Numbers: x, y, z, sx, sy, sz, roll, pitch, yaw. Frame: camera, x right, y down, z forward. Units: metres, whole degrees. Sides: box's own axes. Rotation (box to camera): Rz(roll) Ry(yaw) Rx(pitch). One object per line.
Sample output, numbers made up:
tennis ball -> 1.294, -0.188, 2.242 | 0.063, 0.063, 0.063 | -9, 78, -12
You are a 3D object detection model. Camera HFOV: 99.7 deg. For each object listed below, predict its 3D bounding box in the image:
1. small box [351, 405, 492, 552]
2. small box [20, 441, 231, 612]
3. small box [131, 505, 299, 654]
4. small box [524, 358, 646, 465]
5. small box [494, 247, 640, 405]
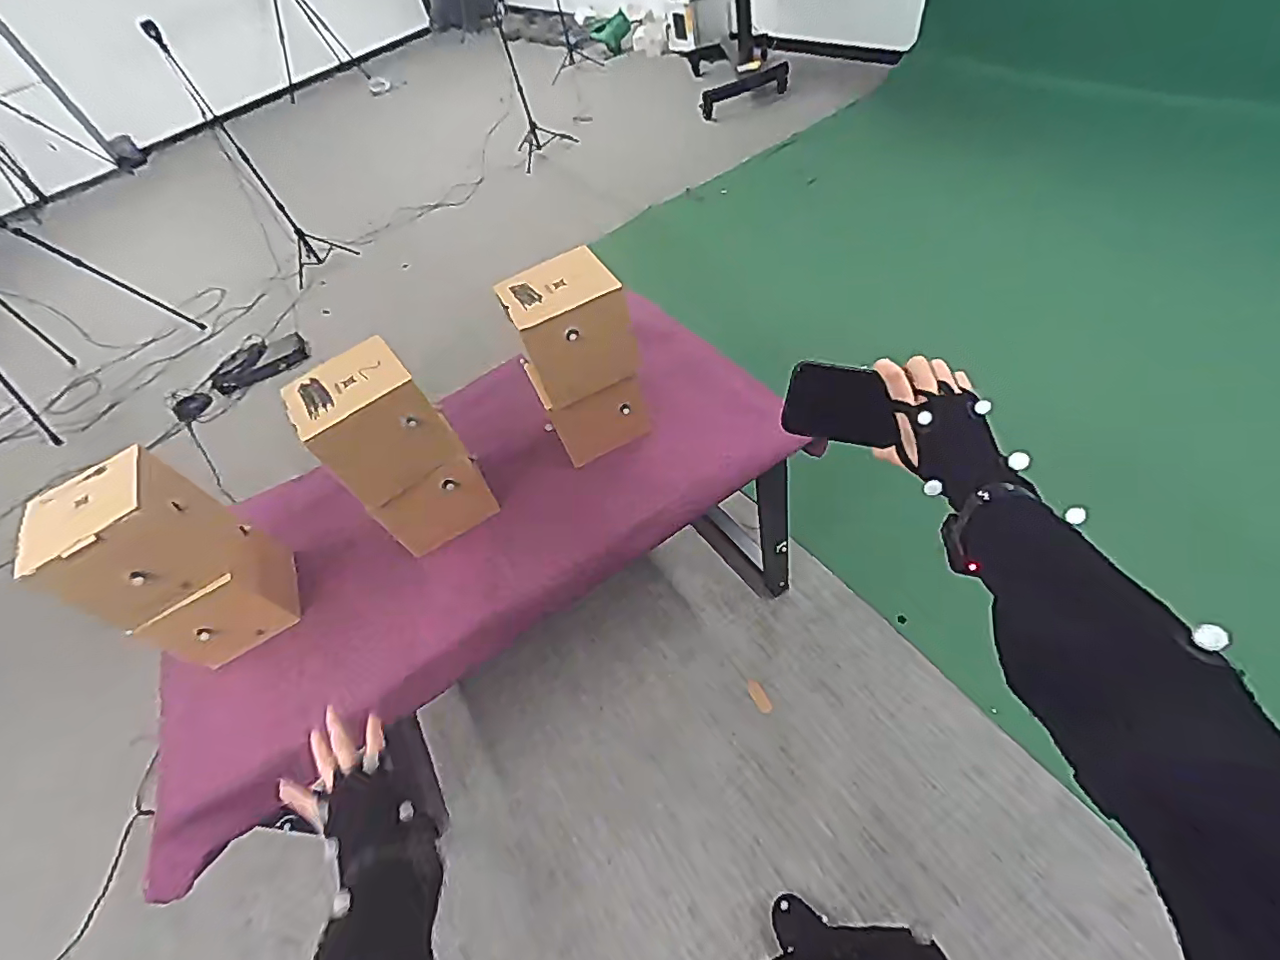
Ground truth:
small box -> -0.396, -0.001, 1.006 | 0.179, 0.176, 0.168 | -31, 51, -9
small box -> -0.775, 0.080, 0.834 | 0.168, 0.176, 0.179 | -34, 52, -13
small box -> -0.736, 0.184, 0.955 | 0.168, 0.176, 0.179 | -30, 51, -9
small box -> -0.100, -0.163, 1.056 | 0.179, 0.176, 0.168 | -26, 50, -5
small box -> -0.120, -0.257, 0.922 | 0.179, 0.176, 0.168 | -26, 50, -6
